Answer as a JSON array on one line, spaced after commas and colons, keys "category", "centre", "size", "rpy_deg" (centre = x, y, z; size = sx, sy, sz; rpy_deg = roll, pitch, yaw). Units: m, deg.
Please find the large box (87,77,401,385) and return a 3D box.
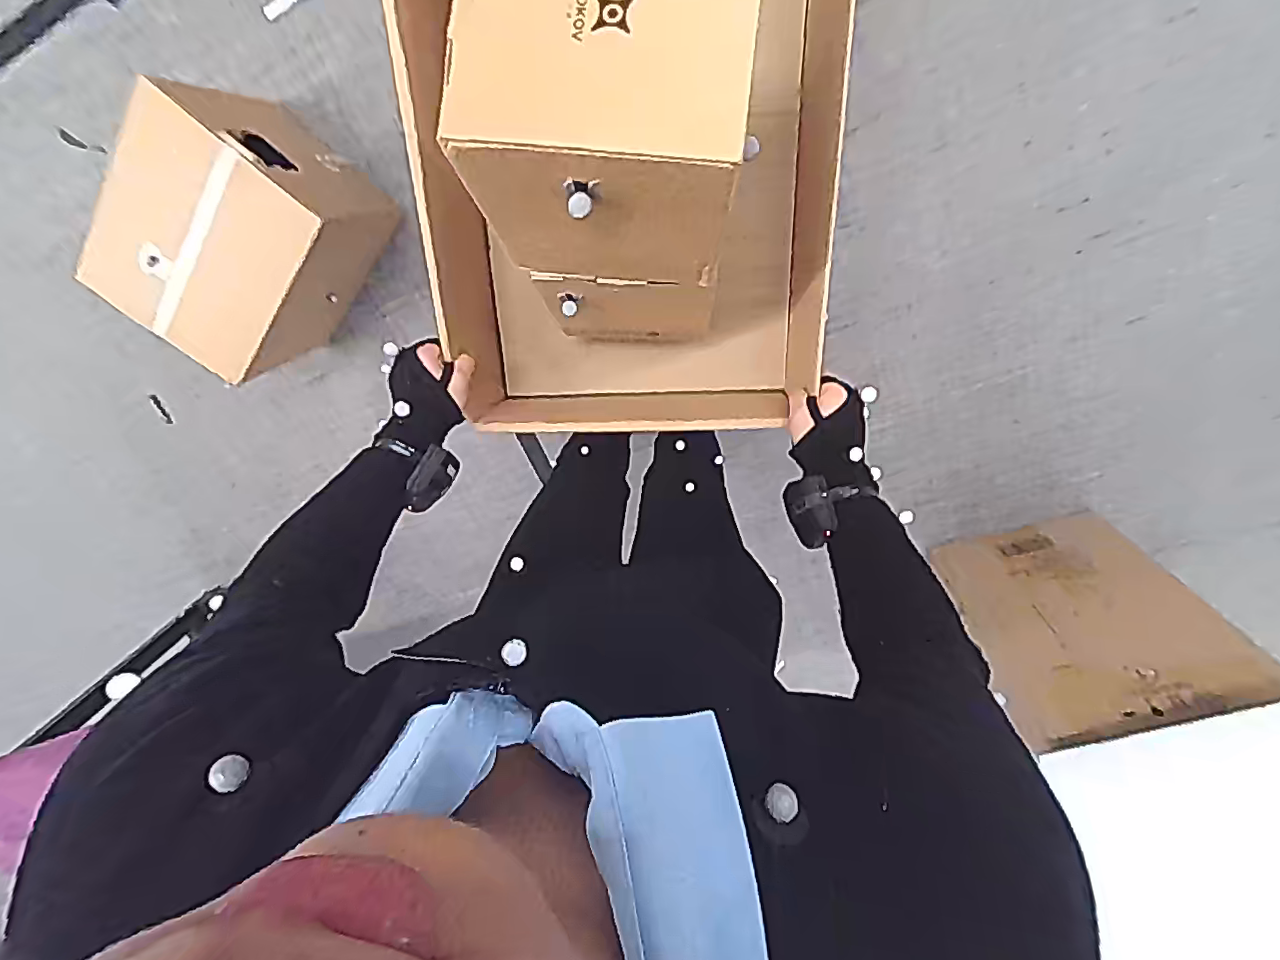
[{"category": "large box", "centre": [-0.755, -0.474, 1.071], "size": [0.320, 0.320, 0.408], "rpy_deg": [39, 115, -14]}]
